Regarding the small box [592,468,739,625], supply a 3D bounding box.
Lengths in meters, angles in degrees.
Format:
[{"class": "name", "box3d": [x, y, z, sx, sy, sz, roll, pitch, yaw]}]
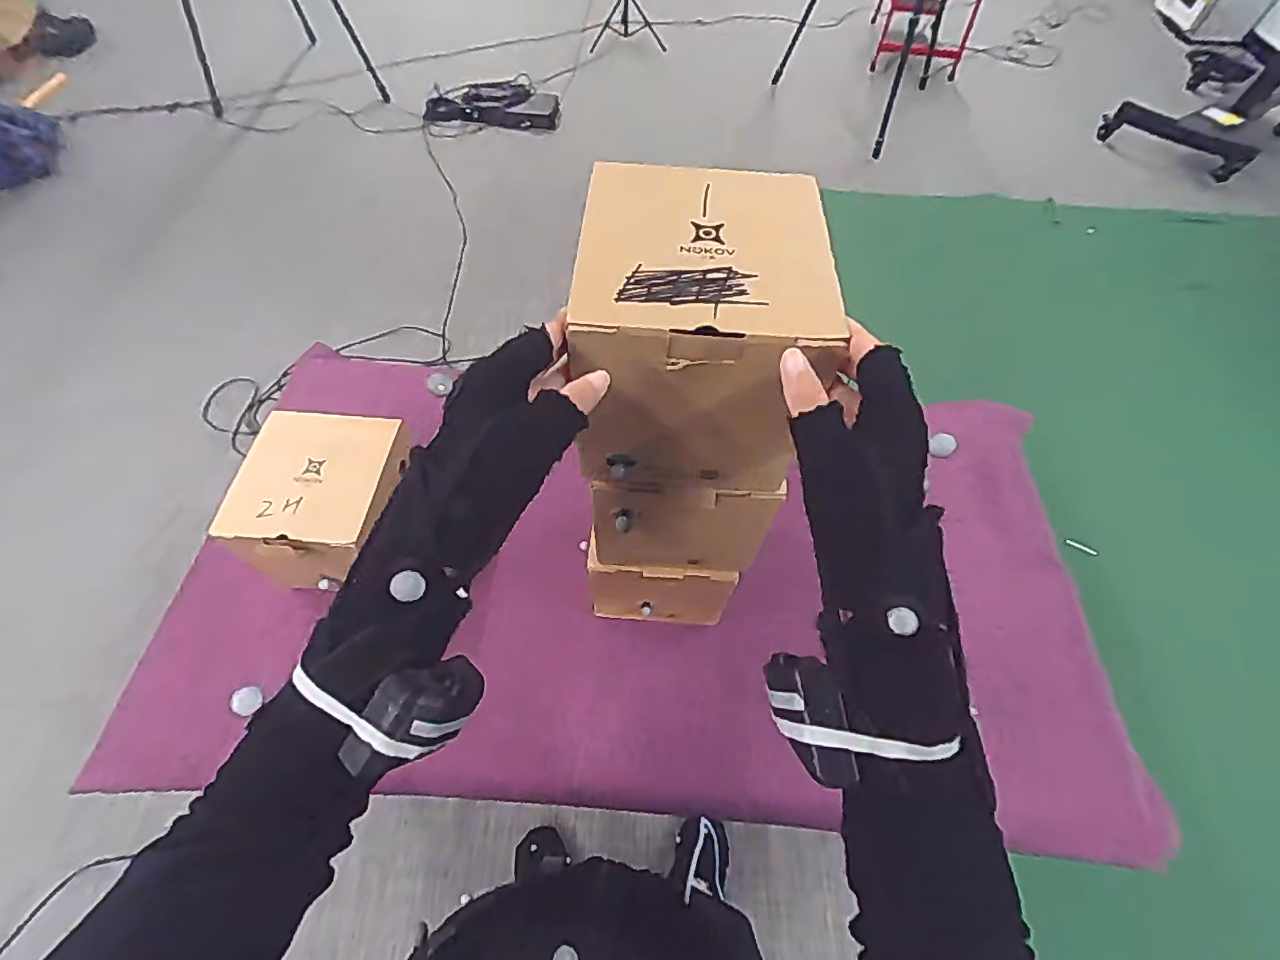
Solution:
[{"class": "small box", "box3d": [0.031, 0.073, 0.700, 0.168, 0.176, 0.179, 4, 60, 1]}]

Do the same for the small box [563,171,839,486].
[{"class": "small box", "box3d": [0.040, -0.111, 0.426, 0.168, 0.176, 0.179, 4, 57, 0]}]

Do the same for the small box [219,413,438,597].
[{"class": "small box", "box3d": [-0.383, 0.037, 0.708, 0.168, 0.176, 0.179, 4, 59, 1]}]
